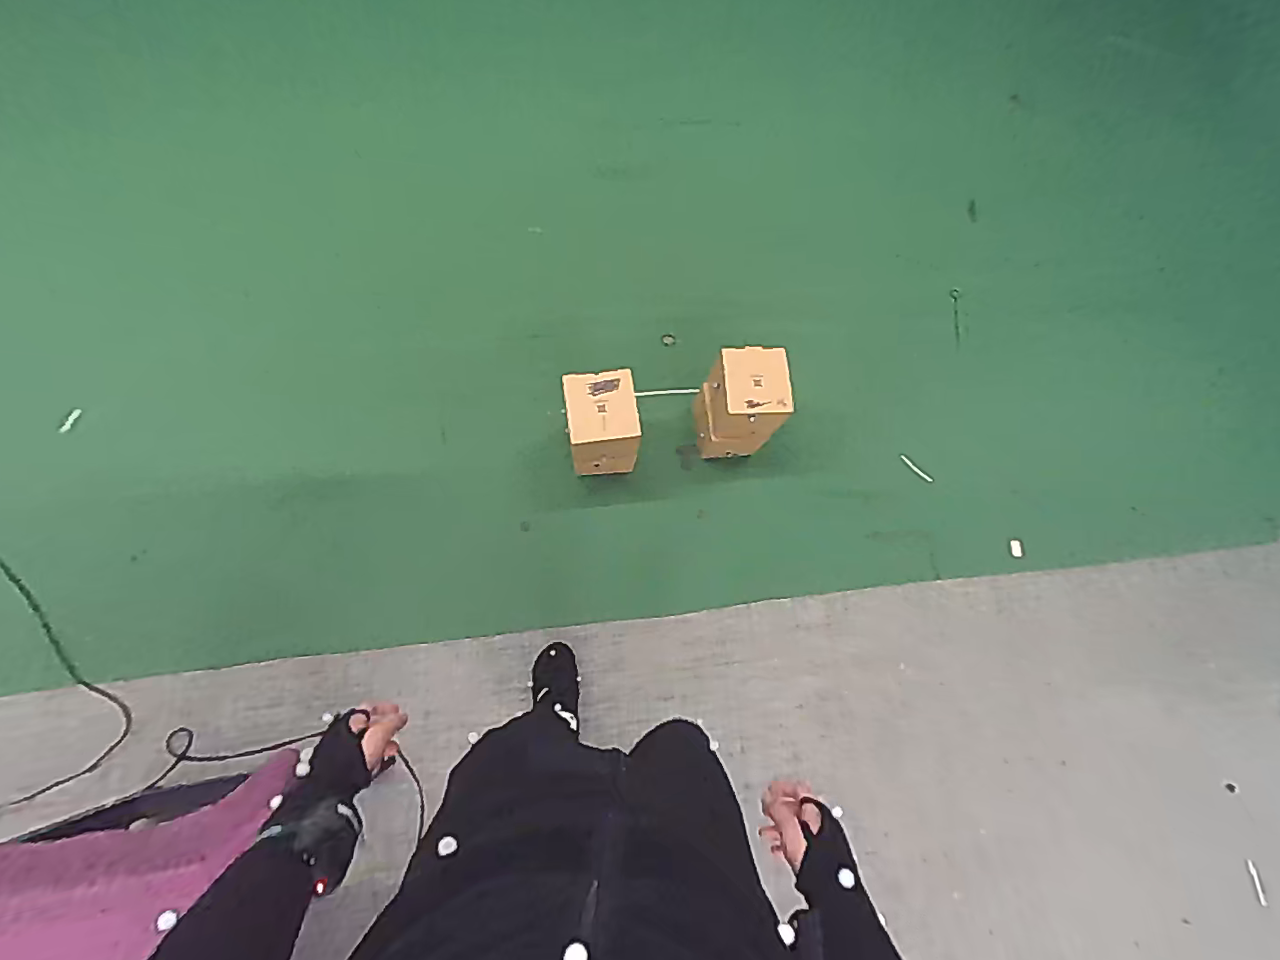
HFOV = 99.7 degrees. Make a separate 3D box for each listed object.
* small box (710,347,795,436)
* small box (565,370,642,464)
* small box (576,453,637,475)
[{"bbox_3d":[0.282,-0.224,1.395,0.168,0.176,0.179,-2,75,-6],"label":"small box"},{"bbox_3d":[-0.093,-0.153,1.342,0.168,0.176,0.179,-8,77,-7],"label":"small box"},{"bbox_3d":[-0.099,-0.118,1.503,0.168,0.176,0.179,-5,74,-6],"label":"small box"}]
